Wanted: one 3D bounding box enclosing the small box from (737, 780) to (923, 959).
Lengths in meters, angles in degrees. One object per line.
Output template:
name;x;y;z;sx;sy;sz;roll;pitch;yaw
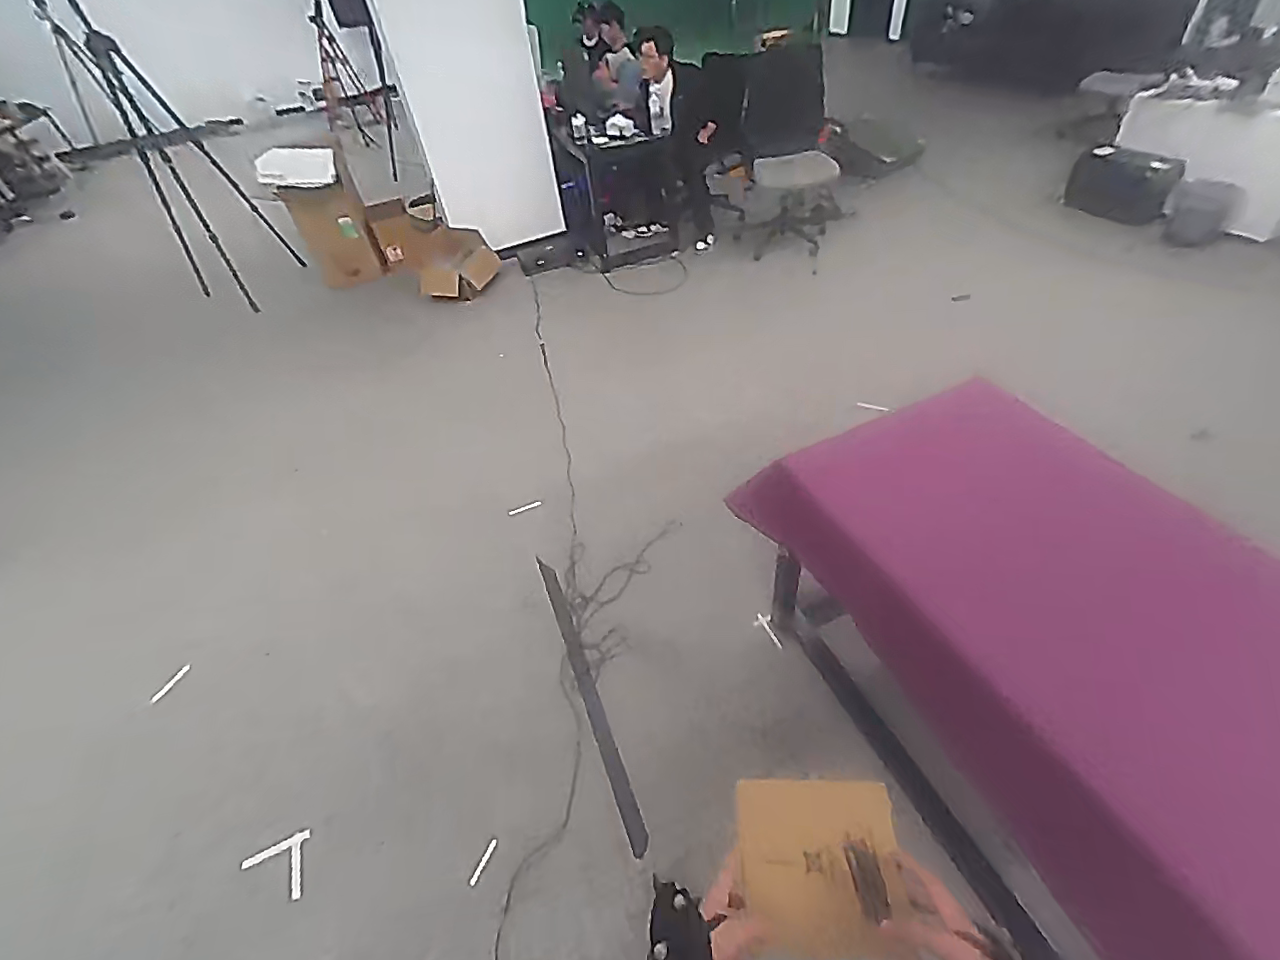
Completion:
small box;0.213;0.475;0.662;0.179;0.176;0.168;-3;52;8
